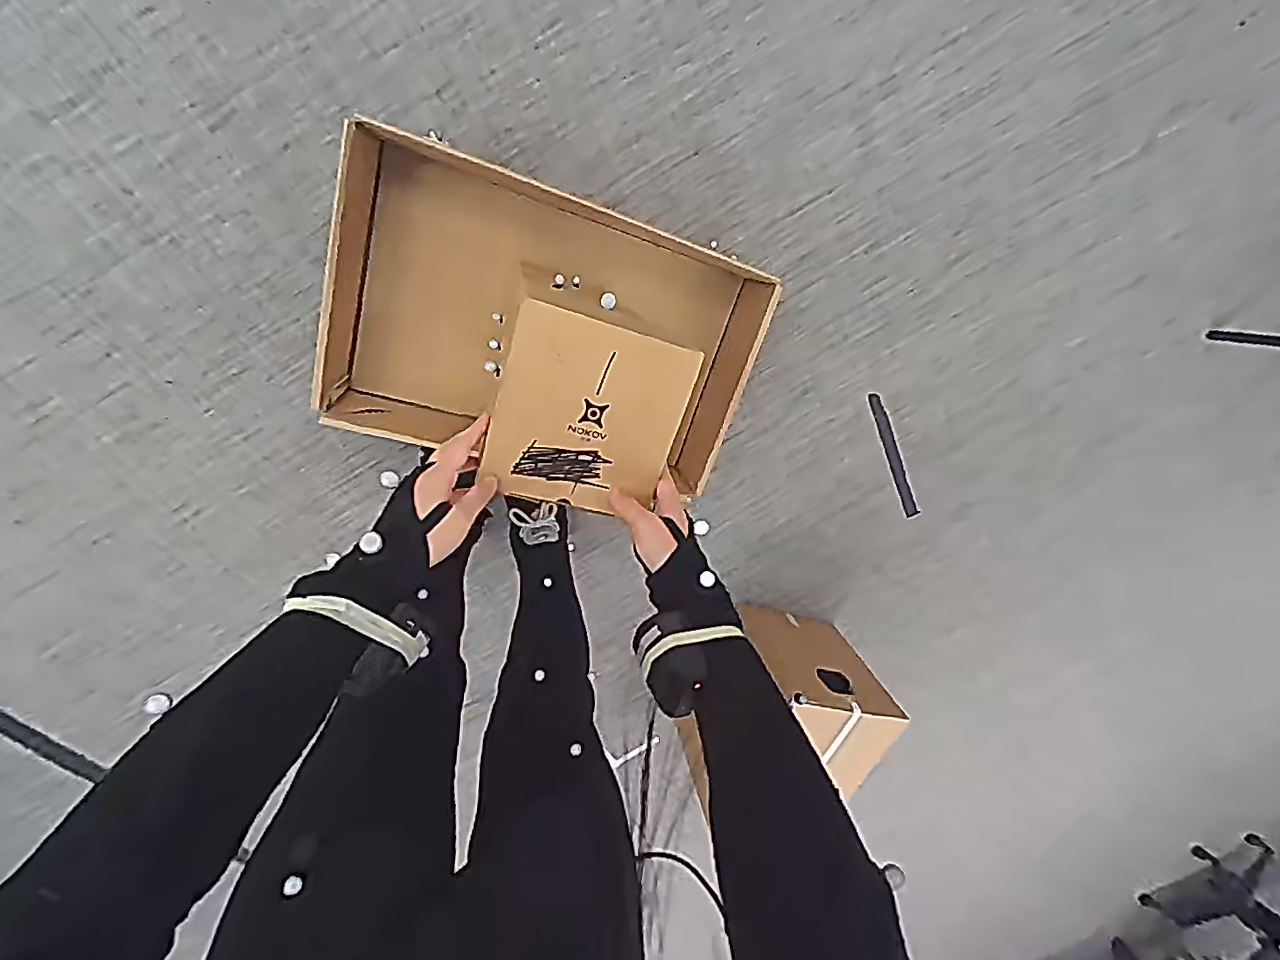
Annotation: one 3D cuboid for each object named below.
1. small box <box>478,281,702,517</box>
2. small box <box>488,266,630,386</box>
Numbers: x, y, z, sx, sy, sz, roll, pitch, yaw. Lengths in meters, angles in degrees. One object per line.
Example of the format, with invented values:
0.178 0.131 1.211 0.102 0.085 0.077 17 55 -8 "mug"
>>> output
-0.061 -0.088 0.556 0.168 0.176 0.179 13 110 -19 "small box"
-0.134 -0.220 0.847 0.168 0.176 0.179 16 110 -20 "small box"
